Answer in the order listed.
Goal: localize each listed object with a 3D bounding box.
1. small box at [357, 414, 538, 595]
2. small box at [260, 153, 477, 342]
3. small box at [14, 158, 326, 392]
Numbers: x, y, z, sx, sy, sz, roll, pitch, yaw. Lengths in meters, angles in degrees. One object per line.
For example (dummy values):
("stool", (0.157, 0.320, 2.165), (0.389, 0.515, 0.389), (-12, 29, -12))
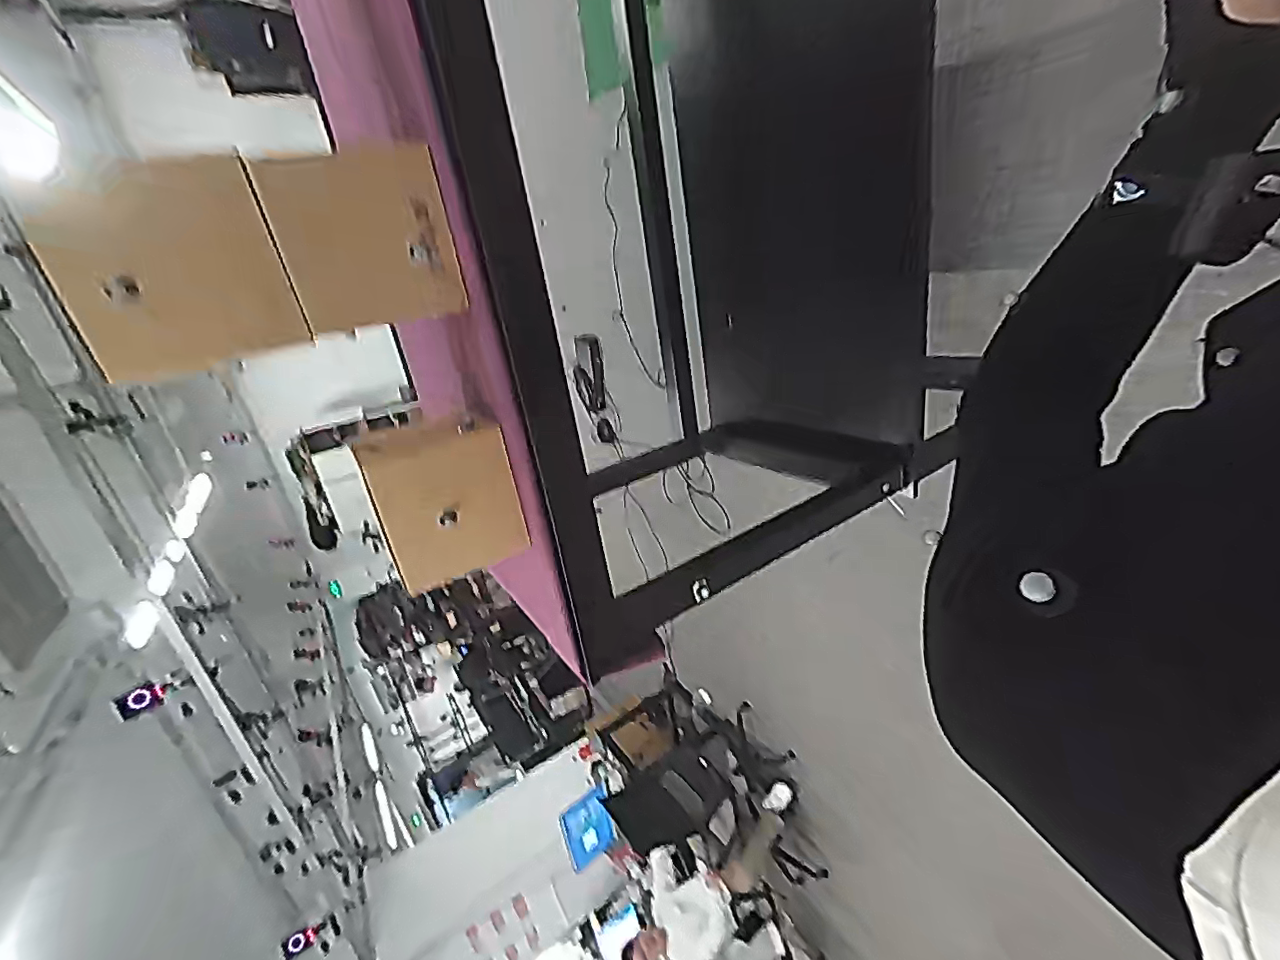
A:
("small box", (-0.259, 0.019, 0.736), (0.168, 0.176, 0.179), (24, 130, 55))
("small box", (-0.306, -0.264, 0.623), (0.179, 0.176, 0.168), (26, 132, 53))
("small box", (-0.440, -0.206, 0.548), (0.168, 0.176, 0.179), (26, 132, 54))
